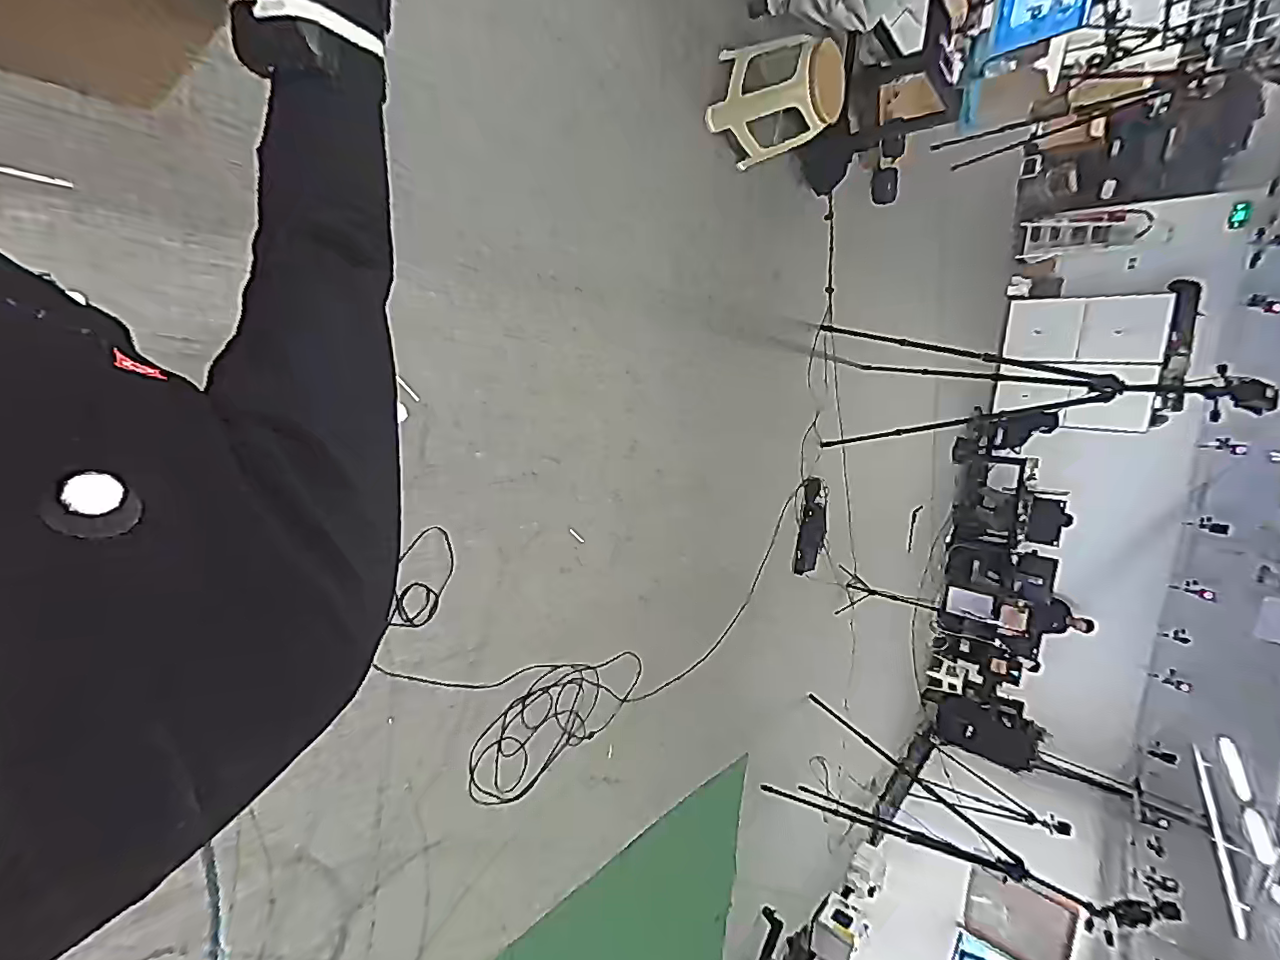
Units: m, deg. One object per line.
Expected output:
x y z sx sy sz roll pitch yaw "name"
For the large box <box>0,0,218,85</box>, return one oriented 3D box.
-0.477 -0.474 0.252 0.408 0.320 0.320 -15 109 -51 "large box"
